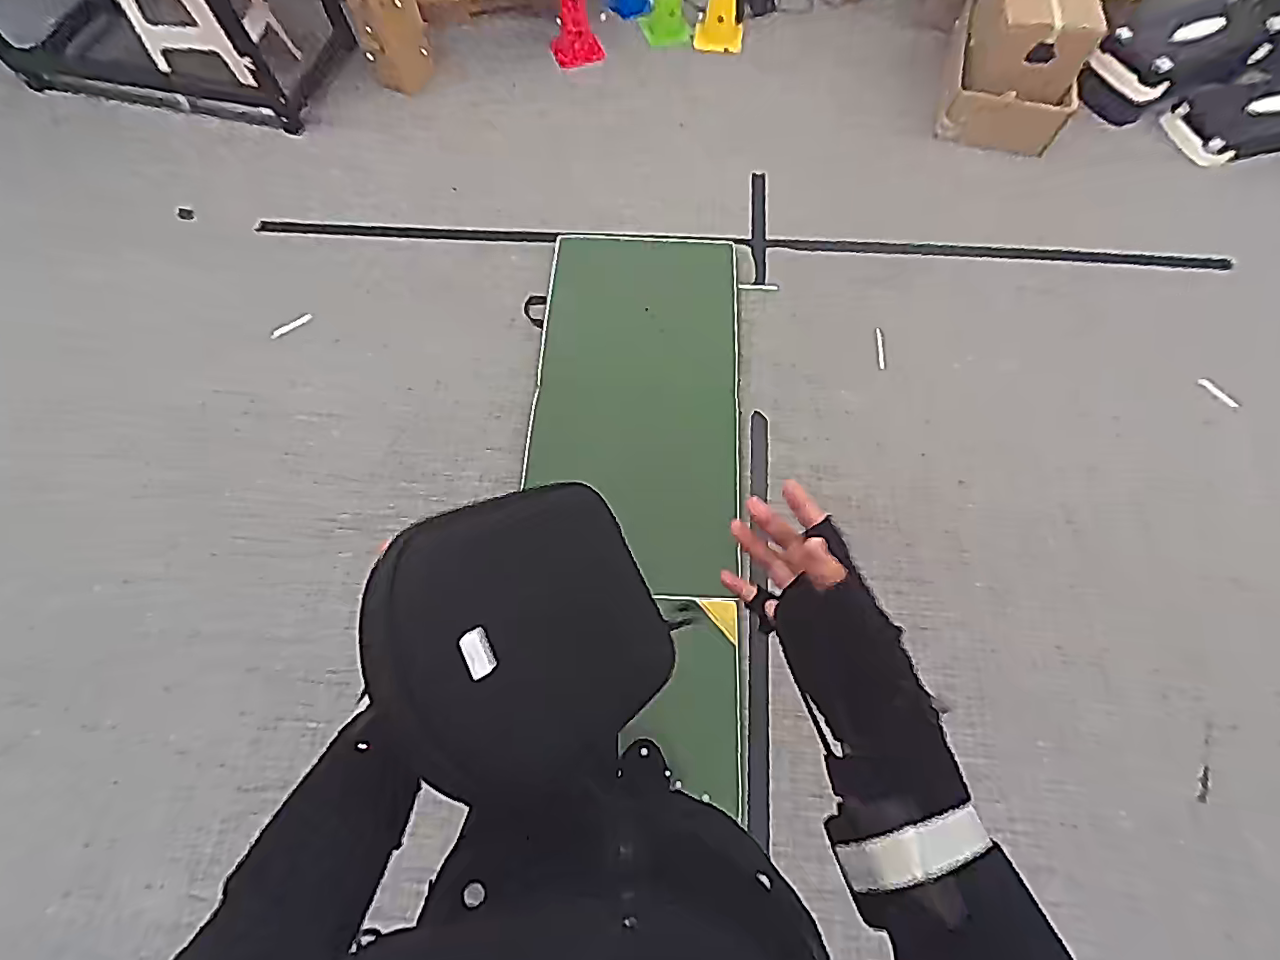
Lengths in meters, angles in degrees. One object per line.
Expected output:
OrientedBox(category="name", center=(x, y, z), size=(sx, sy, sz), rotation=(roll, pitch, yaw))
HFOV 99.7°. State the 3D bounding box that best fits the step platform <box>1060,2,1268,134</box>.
OrientedBox(category="step platform", center=(2.037, -1.608, 2.107), size=(0.684, 0.204, 0.286), rotation=(-24, 70, -9))
